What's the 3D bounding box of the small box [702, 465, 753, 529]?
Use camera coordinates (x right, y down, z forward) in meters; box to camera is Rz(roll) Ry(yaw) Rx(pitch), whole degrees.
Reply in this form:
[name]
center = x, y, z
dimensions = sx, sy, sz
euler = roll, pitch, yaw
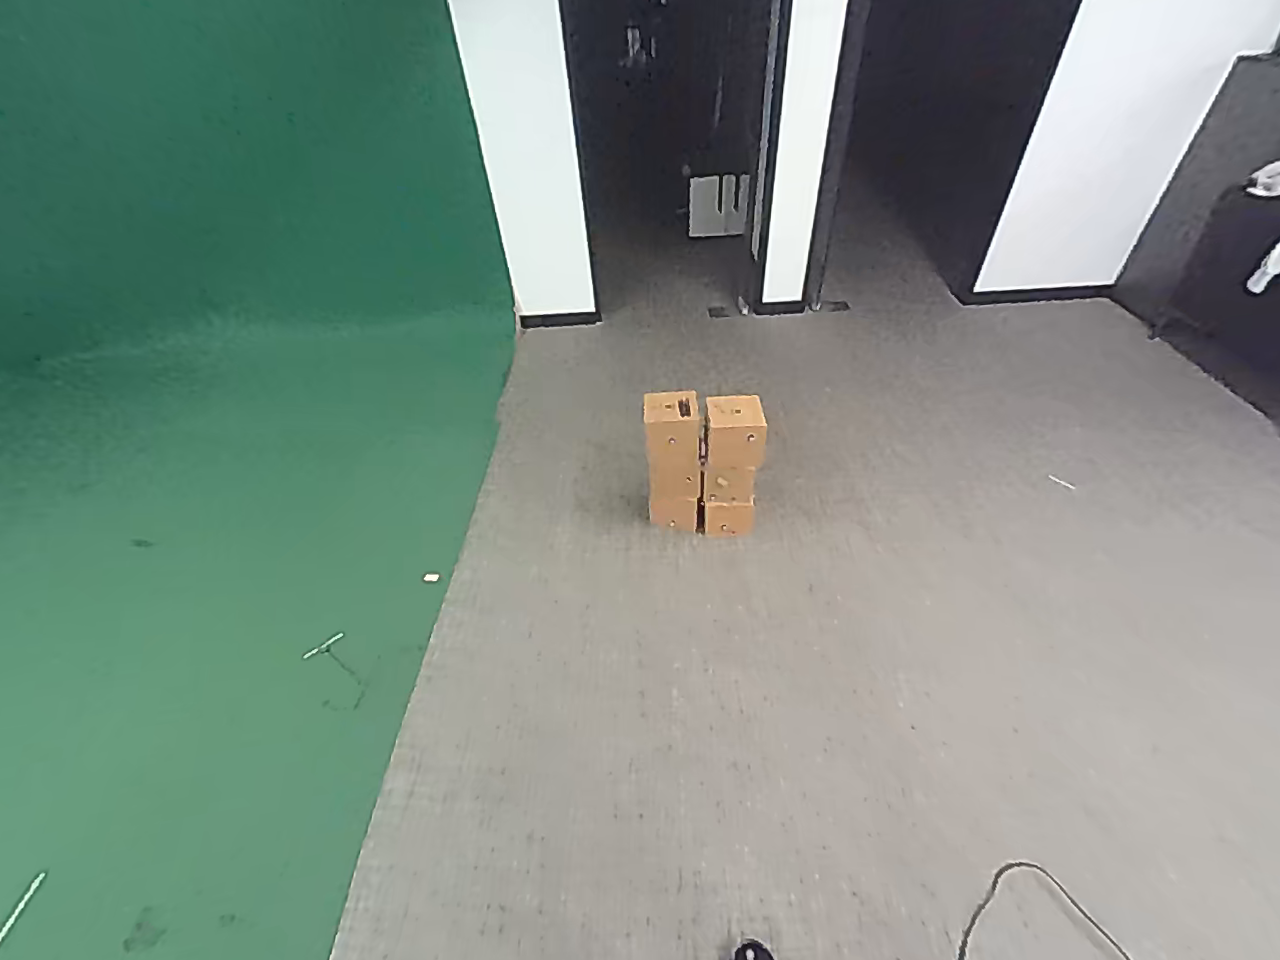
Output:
[small box]
center = 0.317, 0.063, 1.985
dimensions = 0.168, 0.176, 0.179
euler = -2, 45, 3
